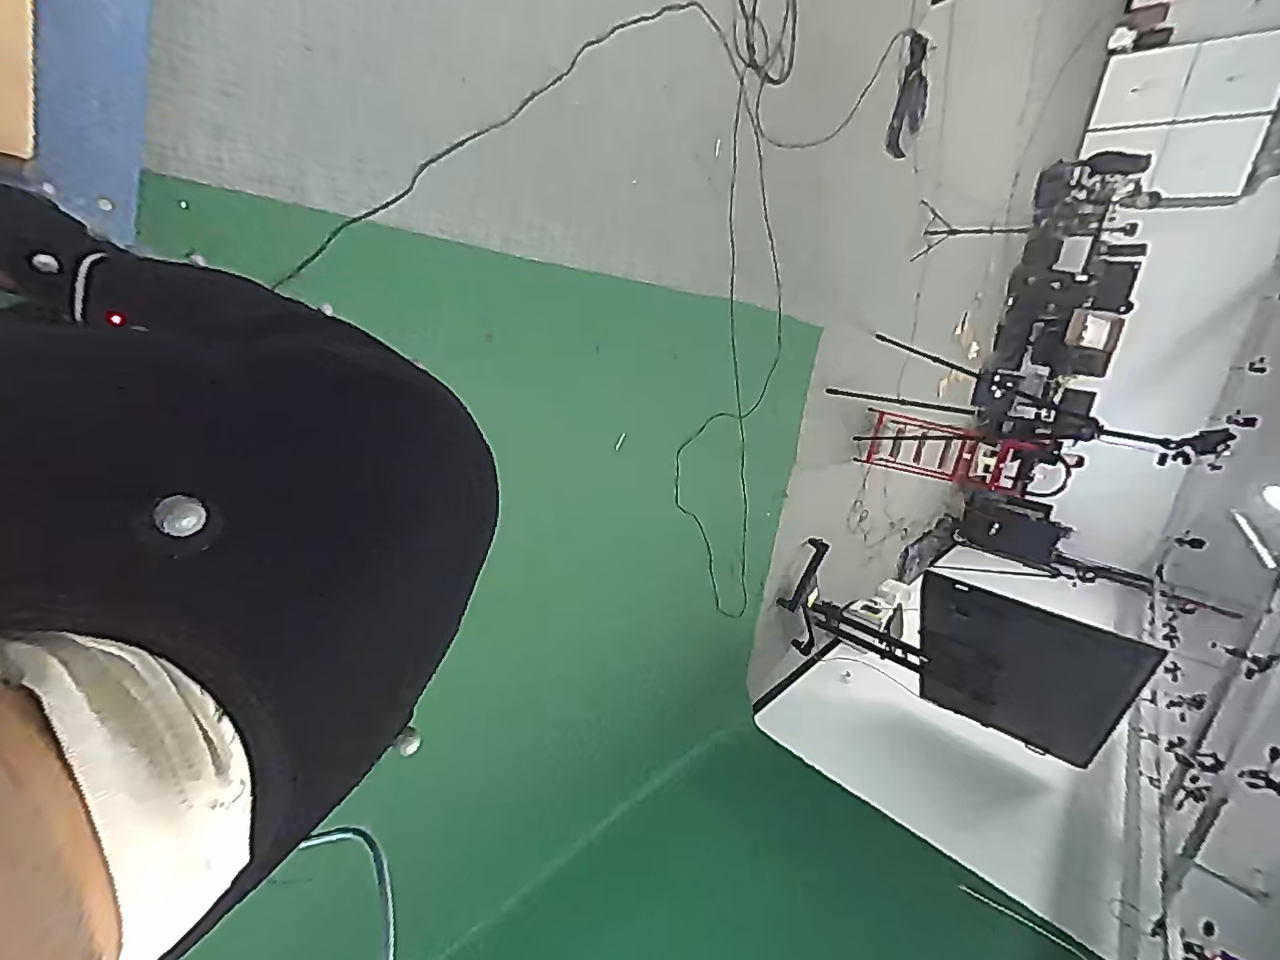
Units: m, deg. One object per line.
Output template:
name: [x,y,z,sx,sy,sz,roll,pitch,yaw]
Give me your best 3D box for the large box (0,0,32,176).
large box: [-1.001,-0.659,0.675,0.320,0.320,0.408,-2,107,-49]
